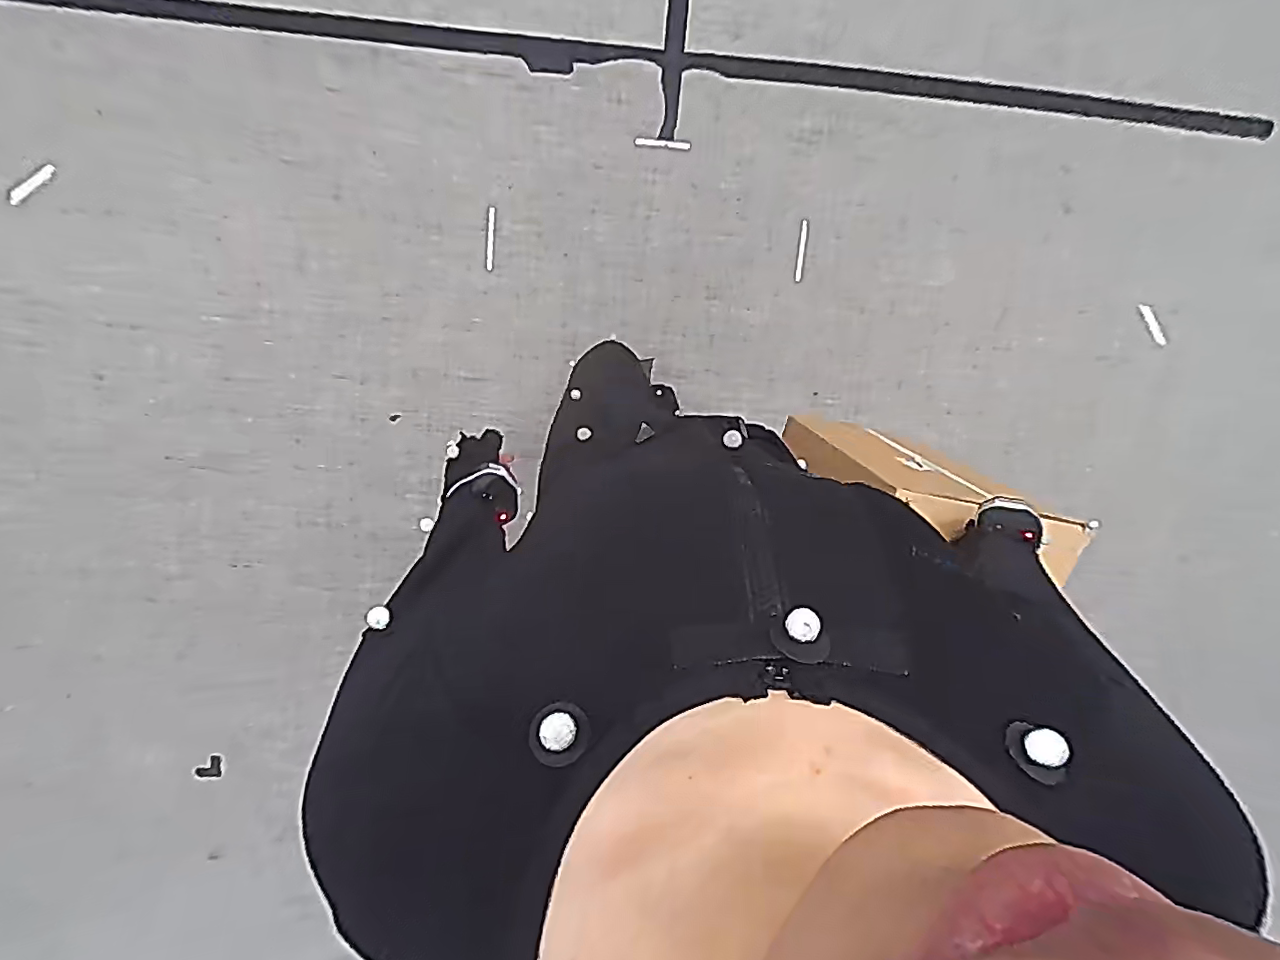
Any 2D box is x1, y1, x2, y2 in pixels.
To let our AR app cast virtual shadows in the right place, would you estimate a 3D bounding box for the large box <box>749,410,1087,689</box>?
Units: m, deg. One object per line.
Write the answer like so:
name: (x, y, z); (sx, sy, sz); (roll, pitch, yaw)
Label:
large box: (0.434, 0.101, 0.973); (0.320, 0.408, 0.320); (10, 111, -10)
